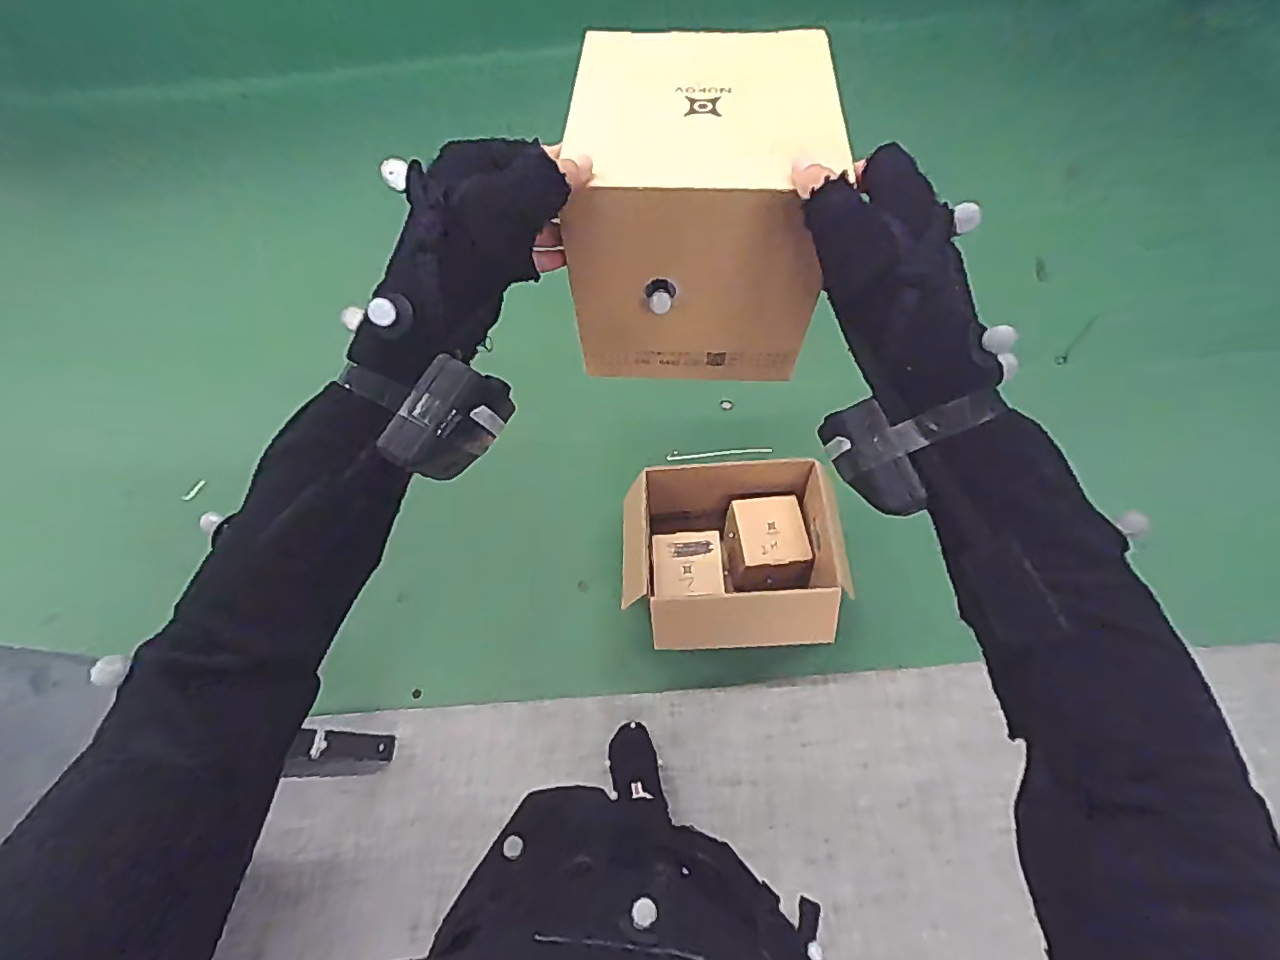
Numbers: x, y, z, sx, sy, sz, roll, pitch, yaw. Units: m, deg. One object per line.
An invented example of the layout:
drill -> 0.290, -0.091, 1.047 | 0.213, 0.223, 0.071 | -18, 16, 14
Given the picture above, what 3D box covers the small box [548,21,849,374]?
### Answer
small box -> 0.039, -0.195, 0.398 | 0.168, 0.176, 0.179 | 2, 61, 3
